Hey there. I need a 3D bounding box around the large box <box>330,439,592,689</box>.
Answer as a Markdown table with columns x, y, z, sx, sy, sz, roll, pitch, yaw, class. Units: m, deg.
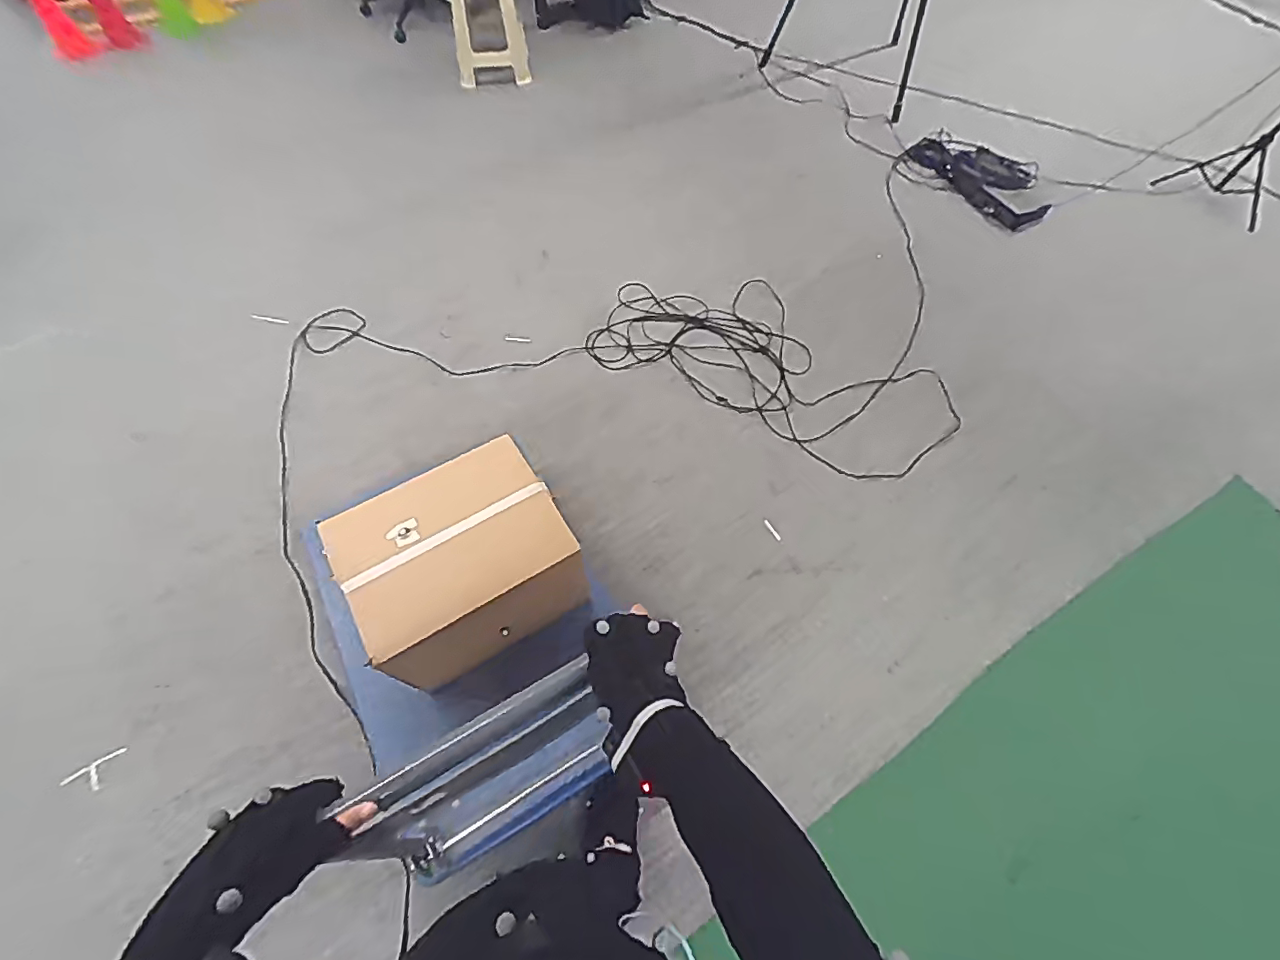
| x | y | z | sx | sy | sz | roll | pitch | yaw | class |
| --- | --- | --- | --- | --- | --- | --- | --- | --- | --- |
| -0.356 | 0.187 | 1.171 | 0.408 | 0.320 | 0.320 | -30 | 65 | -16 | large box |
